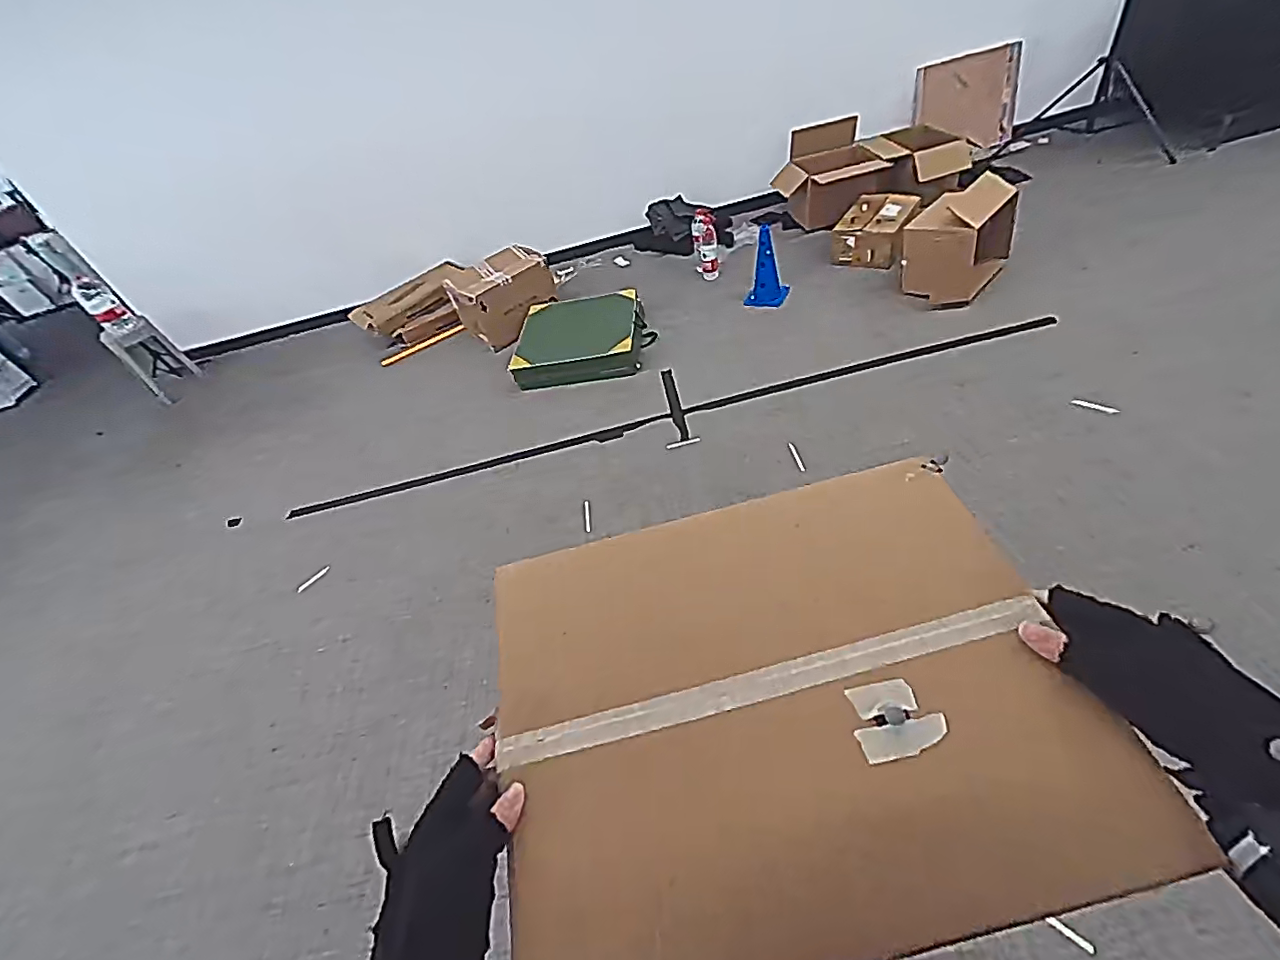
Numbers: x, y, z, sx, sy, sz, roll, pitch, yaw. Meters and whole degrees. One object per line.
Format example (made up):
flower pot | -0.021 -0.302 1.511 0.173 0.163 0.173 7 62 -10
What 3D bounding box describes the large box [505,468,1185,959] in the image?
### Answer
large box | 0.121 0.246 0.520 0.408 0.320 0.320 -15 52 -2
